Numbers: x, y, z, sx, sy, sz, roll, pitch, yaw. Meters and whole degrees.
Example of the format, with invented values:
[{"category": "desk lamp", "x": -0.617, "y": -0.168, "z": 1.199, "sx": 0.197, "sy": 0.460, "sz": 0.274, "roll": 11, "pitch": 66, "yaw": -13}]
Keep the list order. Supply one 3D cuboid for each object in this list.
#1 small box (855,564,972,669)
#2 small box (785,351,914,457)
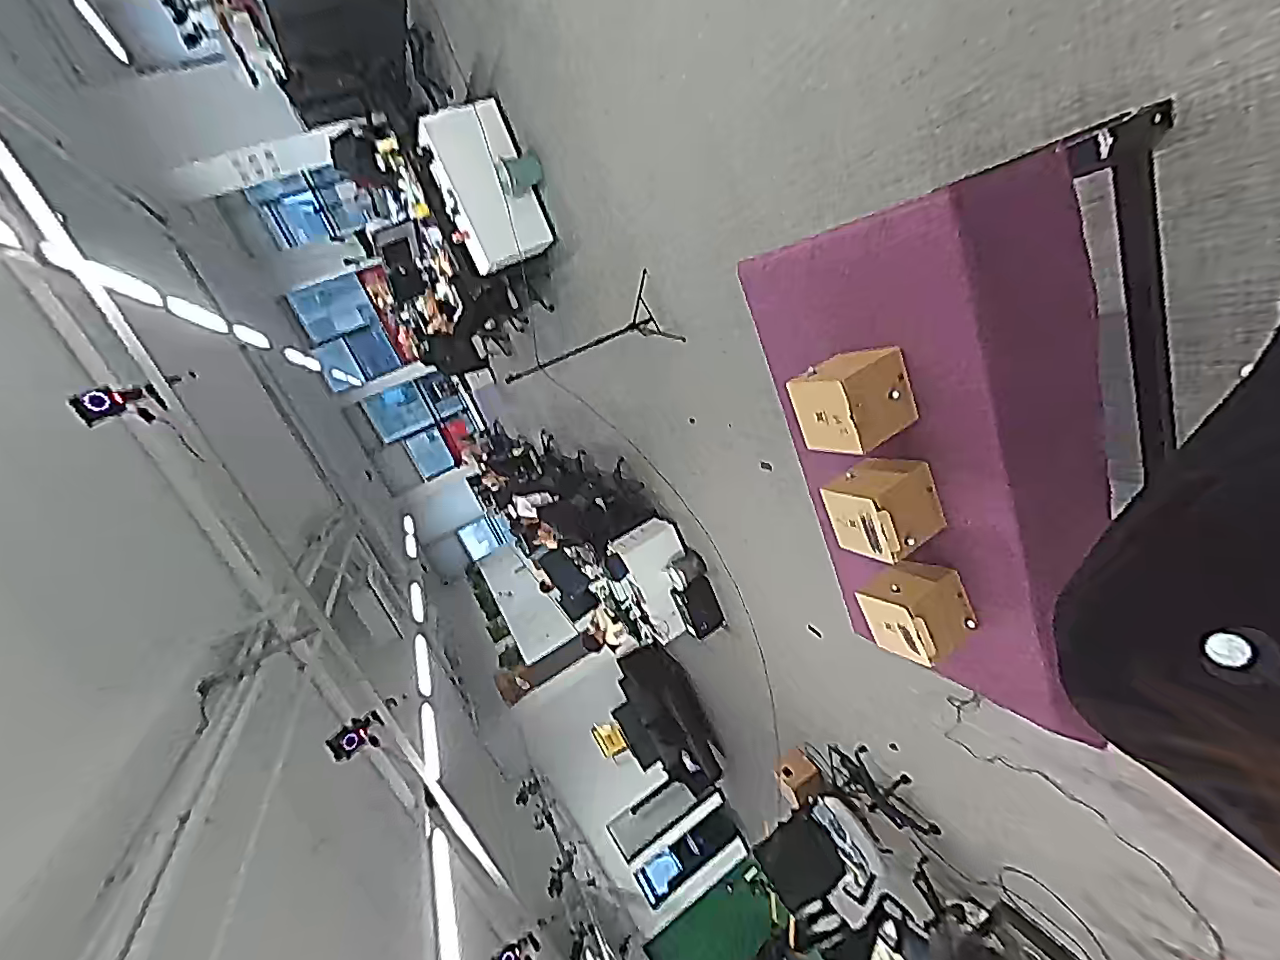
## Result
[{"category": "small box", "x": 0.674, "y": 0.324, "z": 1.323, "sx": 0.168, "sy": 0.176, "sz": 0.179, "roll": 64, "pitch": 163, "yaw": -8}, {"category": "small box", "x": 0.454, "y": -0.167, "z": 1.174, "sx": 0.179, "sy": 0.176, "sz": 0.168, "roll": 16, "pitch": 133, "yaw": 65}]
